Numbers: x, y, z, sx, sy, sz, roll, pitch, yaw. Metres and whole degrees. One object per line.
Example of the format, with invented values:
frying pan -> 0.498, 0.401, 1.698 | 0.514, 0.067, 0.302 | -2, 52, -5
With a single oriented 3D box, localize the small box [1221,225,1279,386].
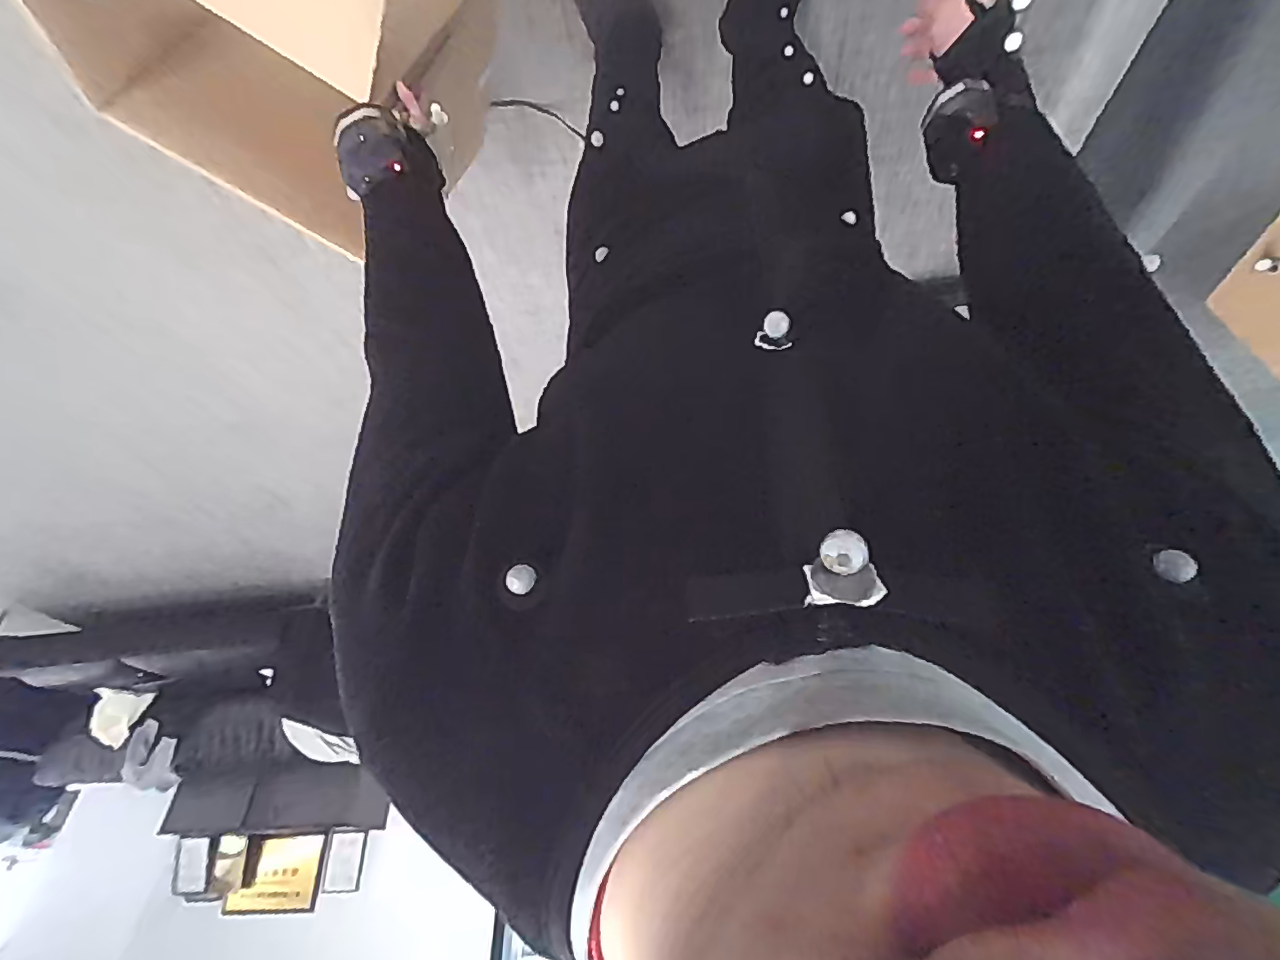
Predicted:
small box -> 0.851, -0.228, 0.624 | 0.168, 0.176, 0.179 | -5, 144, 5
